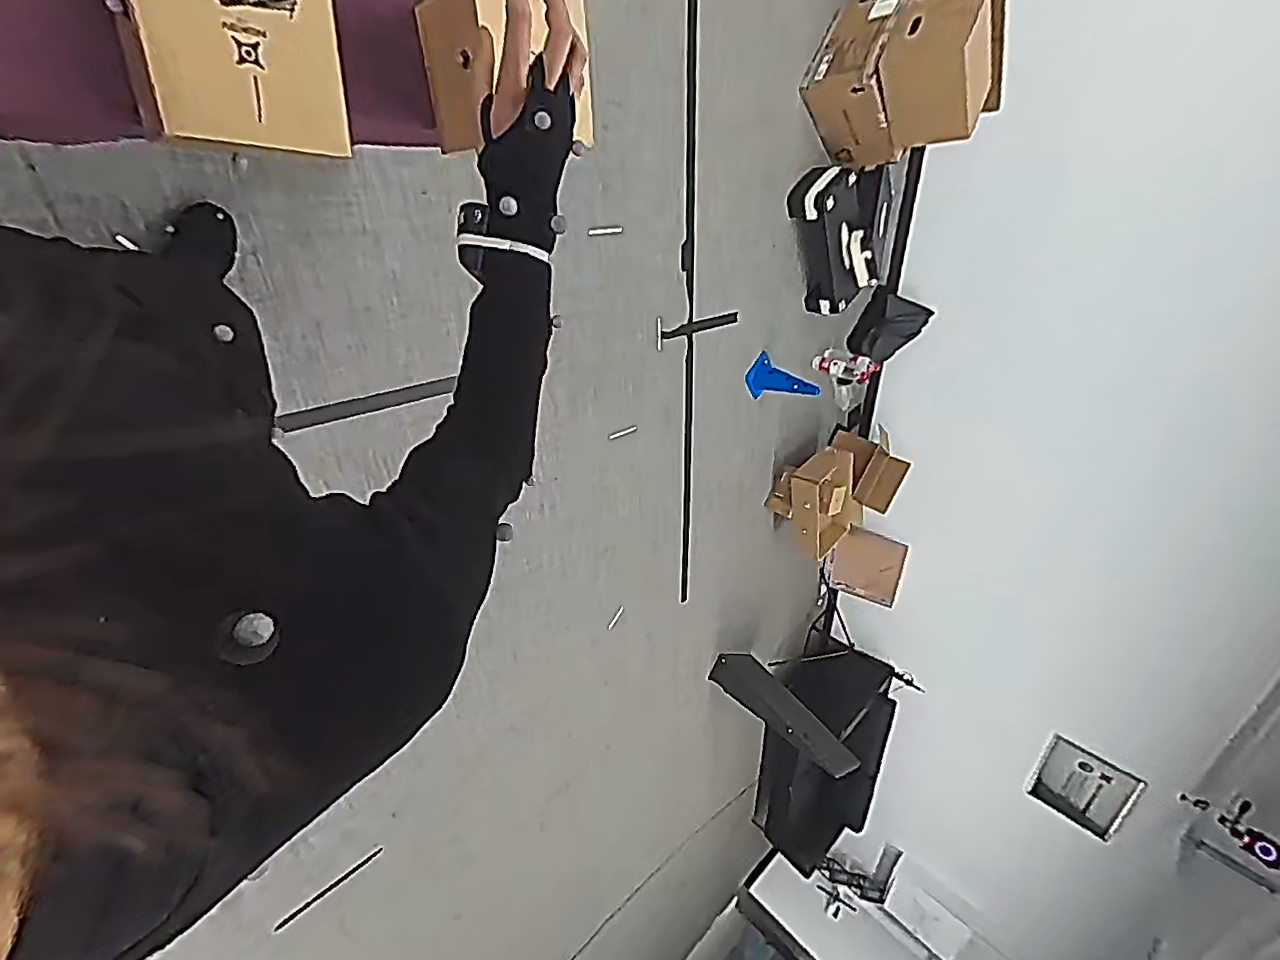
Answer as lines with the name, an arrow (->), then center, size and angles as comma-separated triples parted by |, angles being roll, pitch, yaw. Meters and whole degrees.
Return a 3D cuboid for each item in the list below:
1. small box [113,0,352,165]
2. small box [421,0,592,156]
small box -> -0.433, -0.448, 0.575 | 0.168, 0.176, 0.179 | -18, 124, -40
small box -> -0.188, -0.568, 0.766 | 0.168, 0.176, 0.179 | -25, 126, -35
